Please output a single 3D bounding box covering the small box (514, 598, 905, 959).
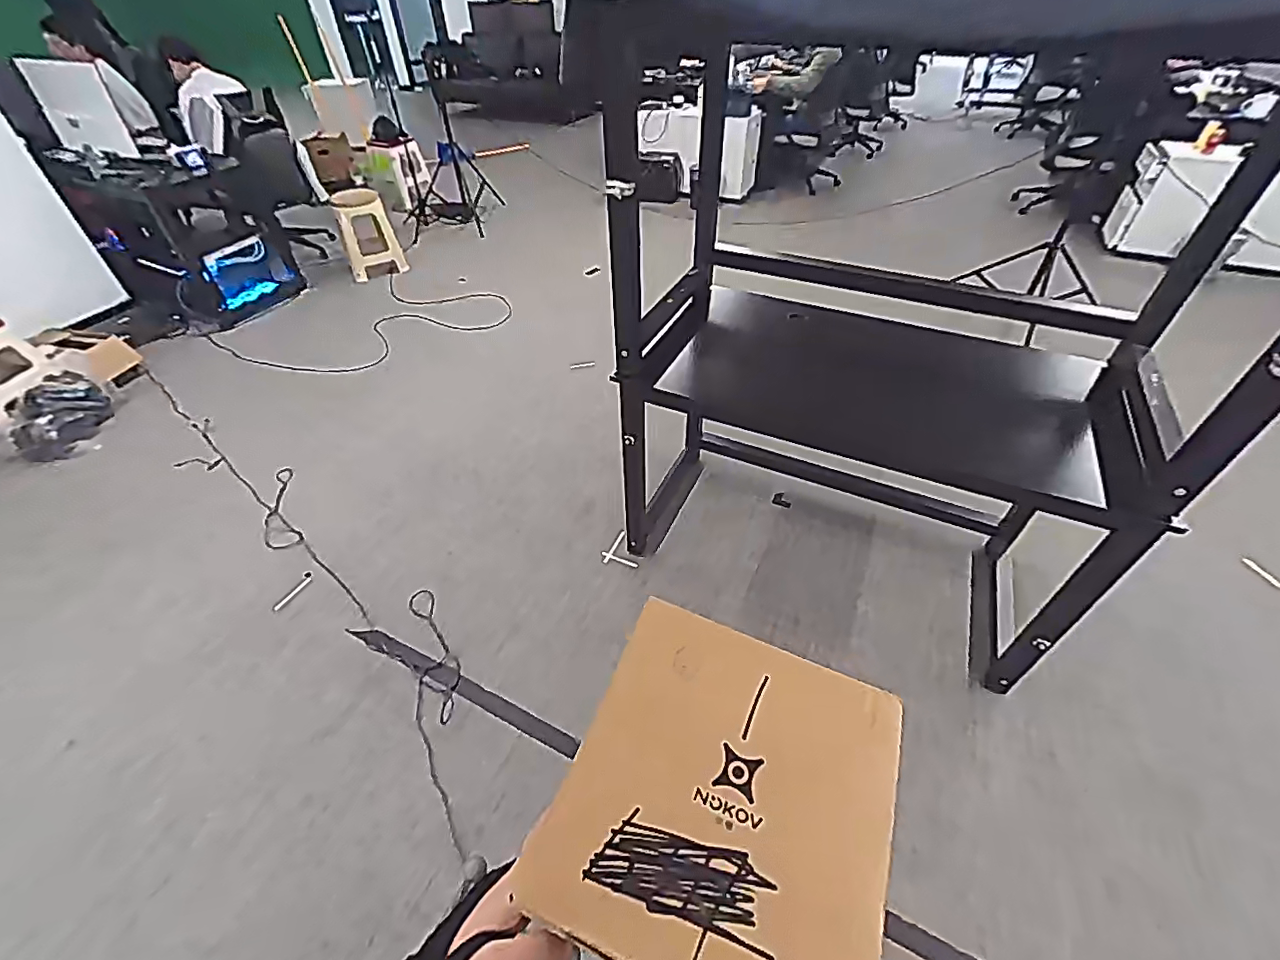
[{"bbox_3d":[0.044,0.214,0.345,0.168,0.176,0.179,20,50,12],"label":"small box"}]
